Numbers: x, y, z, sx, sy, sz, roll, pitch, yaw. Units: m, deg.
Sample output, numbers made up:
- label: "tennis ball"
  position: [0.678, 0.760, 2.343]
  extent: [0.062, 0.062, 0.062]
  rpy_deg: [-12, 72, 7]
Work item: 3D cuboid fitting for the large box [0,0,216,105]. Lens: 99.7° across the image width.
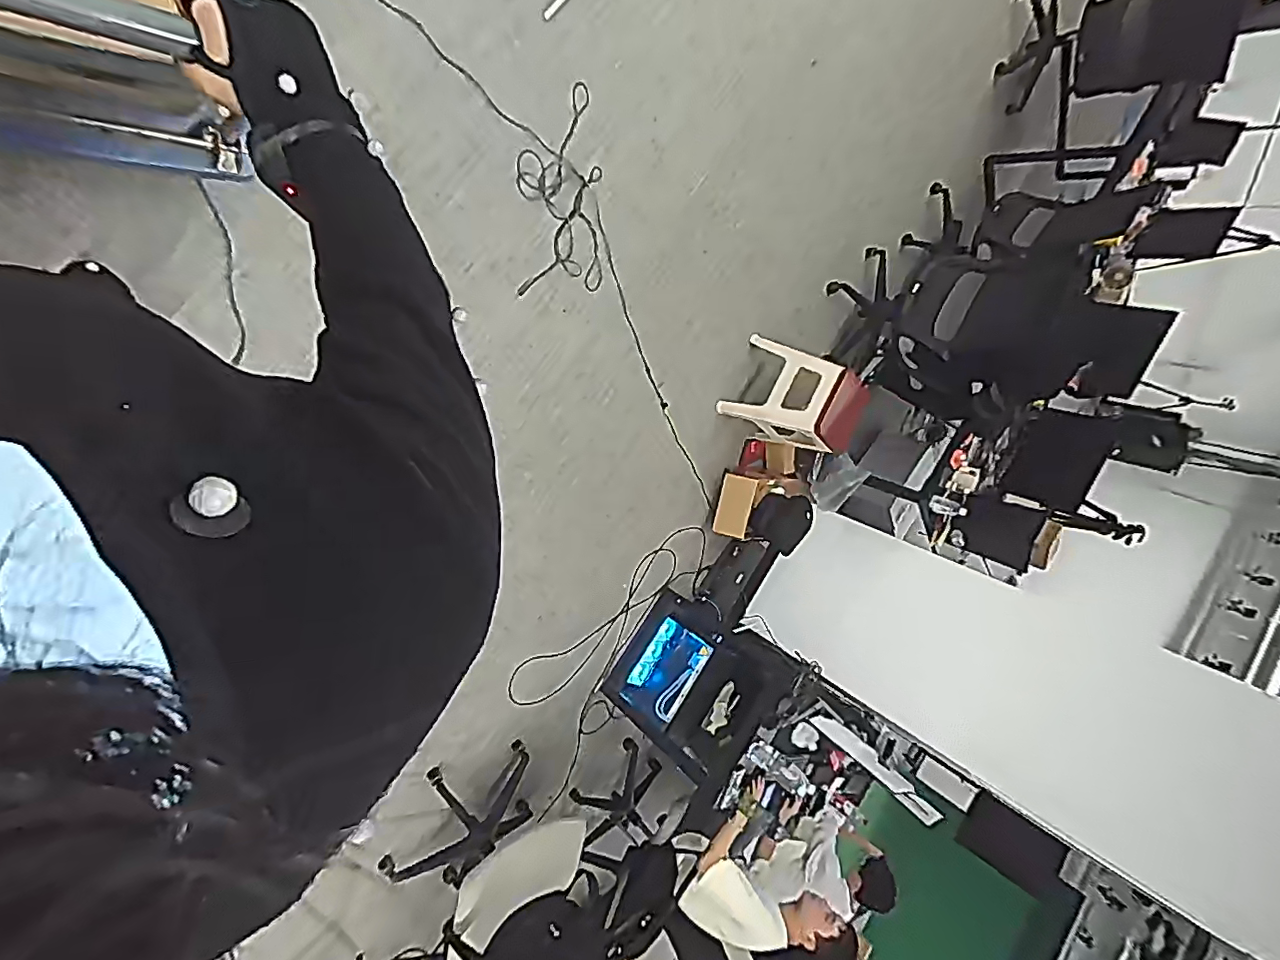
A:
- label: "large box"
  position: [-0.793, -0.685, 0.628]
  extent: [0.408, 0.320, 0.320]
  rpy_deg: [-14, 119, -42]
